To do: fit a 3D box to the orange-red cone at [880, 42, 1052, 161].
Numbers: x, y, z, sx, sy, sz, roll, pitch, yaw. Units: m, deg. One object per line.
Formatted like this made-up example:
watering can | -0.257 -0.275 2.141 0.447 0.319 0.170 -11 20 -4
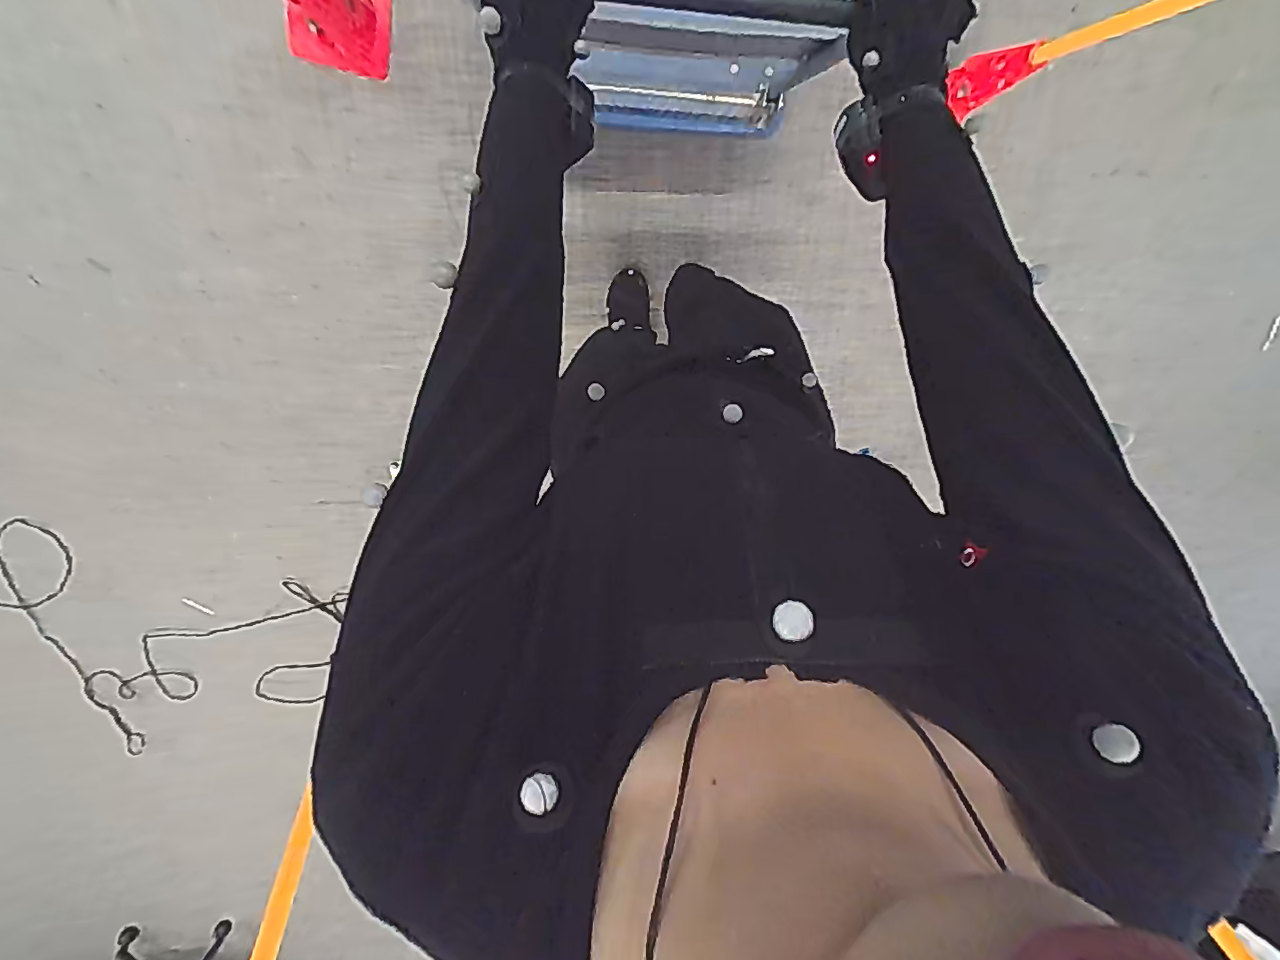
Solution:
orange-red cone | 0.680 -0.796 1.088 0.198 0.360 0.199 9 113 -8
